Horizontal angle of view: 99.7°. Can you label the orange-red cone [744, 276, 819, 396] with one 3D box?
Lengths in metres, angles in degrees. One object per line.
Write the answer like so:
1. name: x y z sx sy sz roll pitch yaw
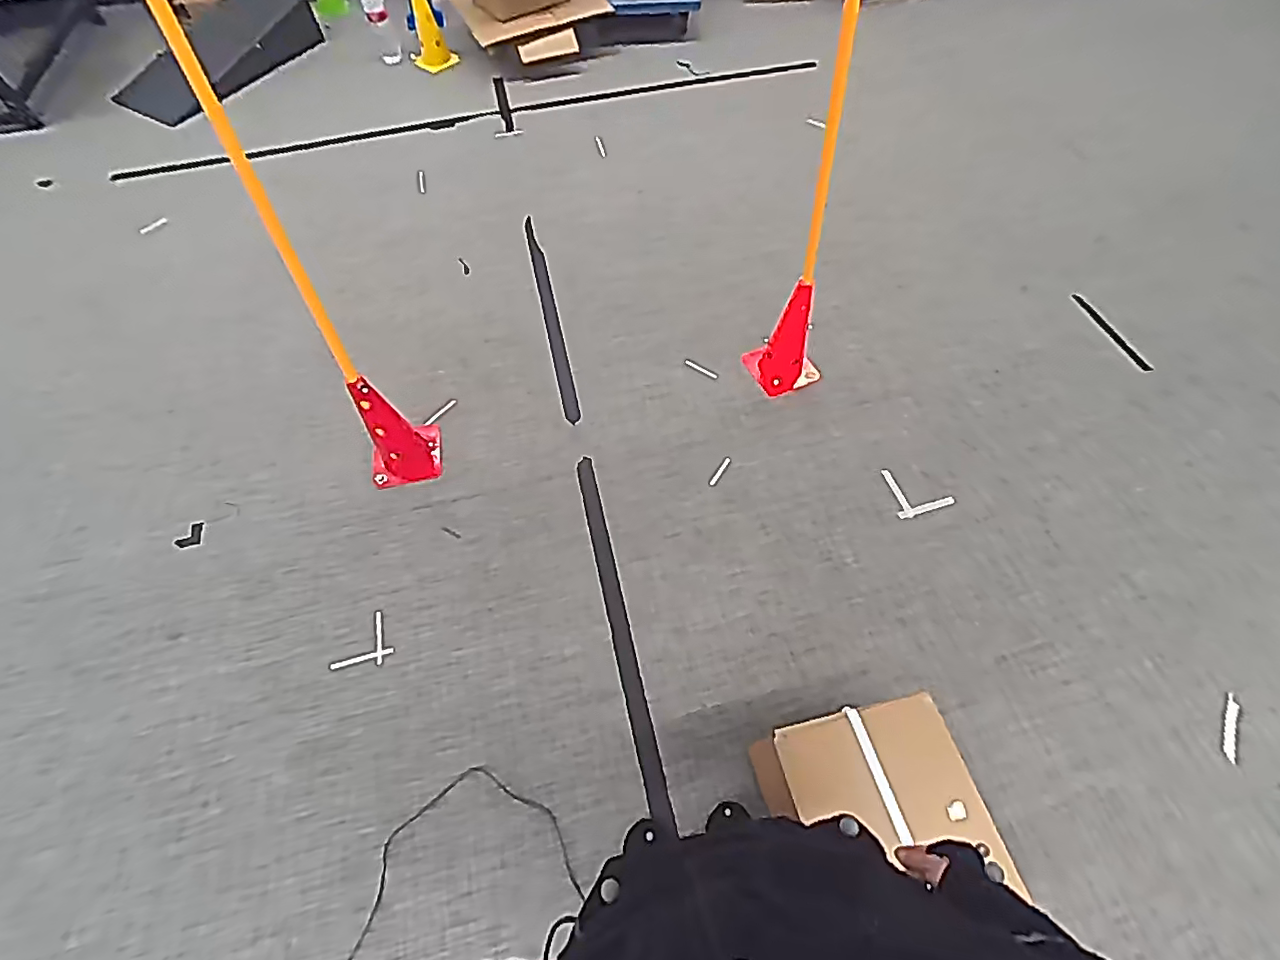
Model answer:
1. orange-red cone: 0.461 -0.454 1.617 0.199 0.360 0.198 -20 63 -11
